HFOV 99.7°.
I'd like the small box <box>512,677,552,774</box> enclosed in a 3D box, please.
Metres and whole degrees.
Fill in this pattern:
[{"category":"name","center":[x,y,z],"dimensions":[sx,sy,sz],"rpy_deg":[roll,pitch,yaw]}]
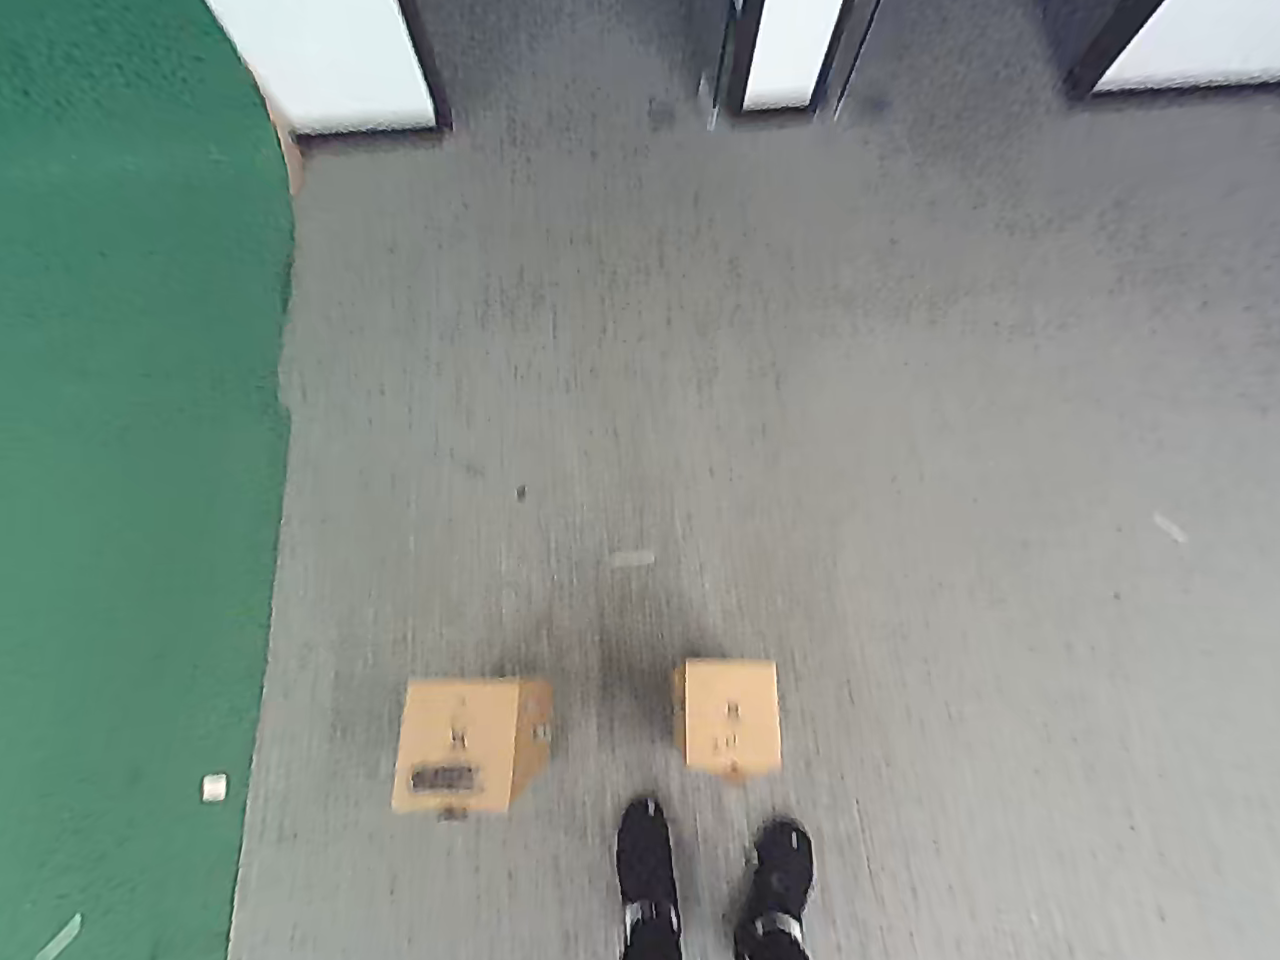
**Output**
[{"category":"small box","center":[-0.284,0.519,1.161],"dimensions":[0.168,0.176,0.179],"rpy_deg":[1,70,-2]}]

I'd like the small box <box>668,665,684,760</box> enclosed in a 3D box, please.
[{"category":"small box","center":[0.153,0.497,1.180],"dimensions":[0.168,0.176,0.179],"rpy_deg":[-2,72,-3]}]

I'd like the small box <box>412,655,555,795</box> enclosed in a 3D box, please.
[{"category":"small box","center":[-0.283,0.452,1.021],"dimensions":[0.179,0.176,0.168],"rpy_deg":[31,75,9]}]

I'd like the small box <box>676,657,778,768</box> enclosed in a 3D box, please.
[{"category":"small box","center":[0.156,0.434,1.027],"dimensions":[0.168,0.176,0.179],"rpy_deg":[2,71,0]}]
